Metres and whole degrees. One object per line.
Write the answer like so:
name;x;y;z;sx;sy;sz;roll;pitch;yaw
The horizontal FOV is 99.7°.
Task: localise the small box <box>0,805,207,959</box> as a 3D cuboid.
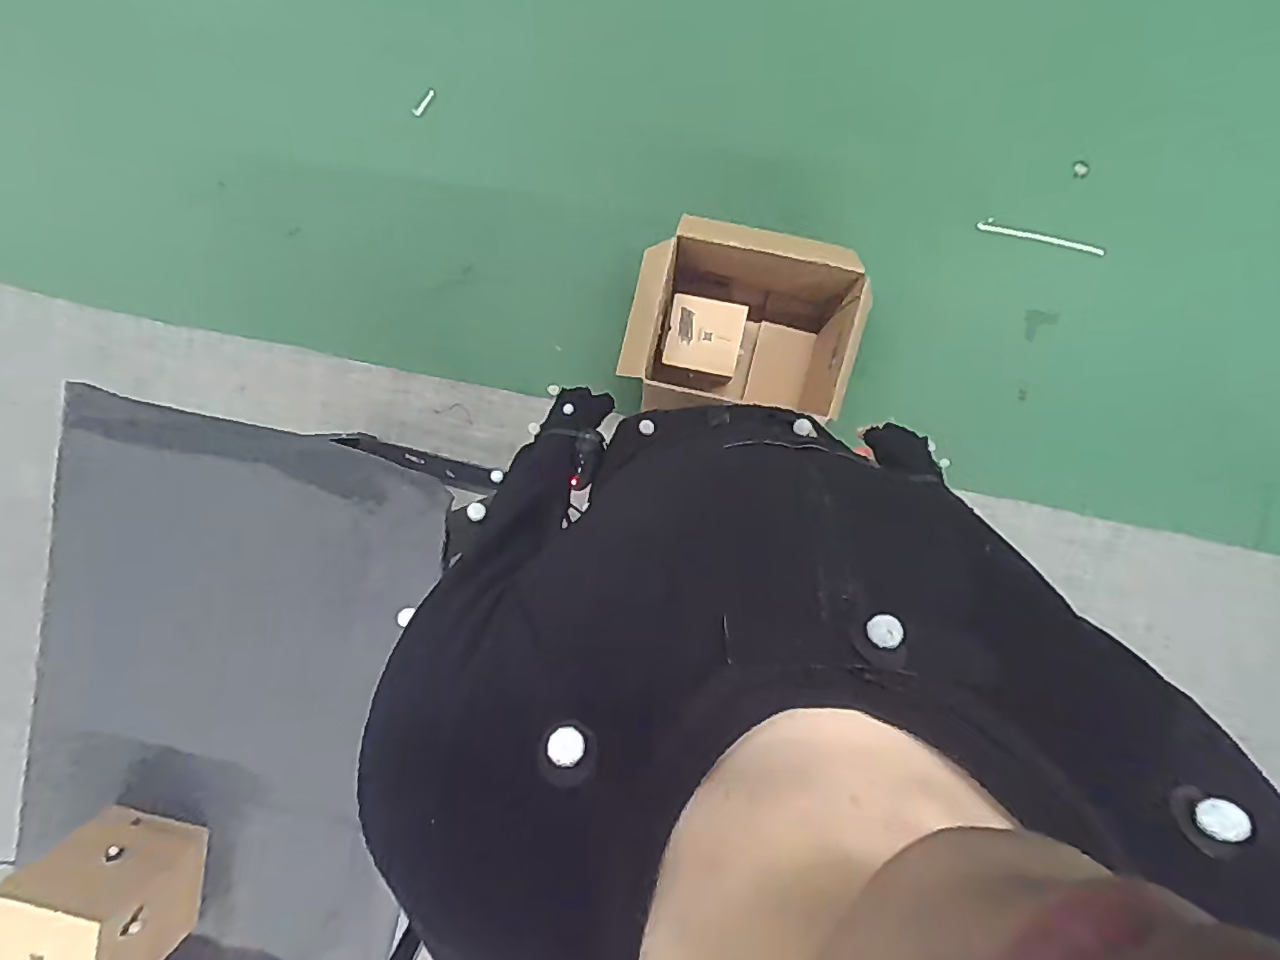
small box;-0.778;0.616;0.784;0.168;0.176;0.179;12;97;3
